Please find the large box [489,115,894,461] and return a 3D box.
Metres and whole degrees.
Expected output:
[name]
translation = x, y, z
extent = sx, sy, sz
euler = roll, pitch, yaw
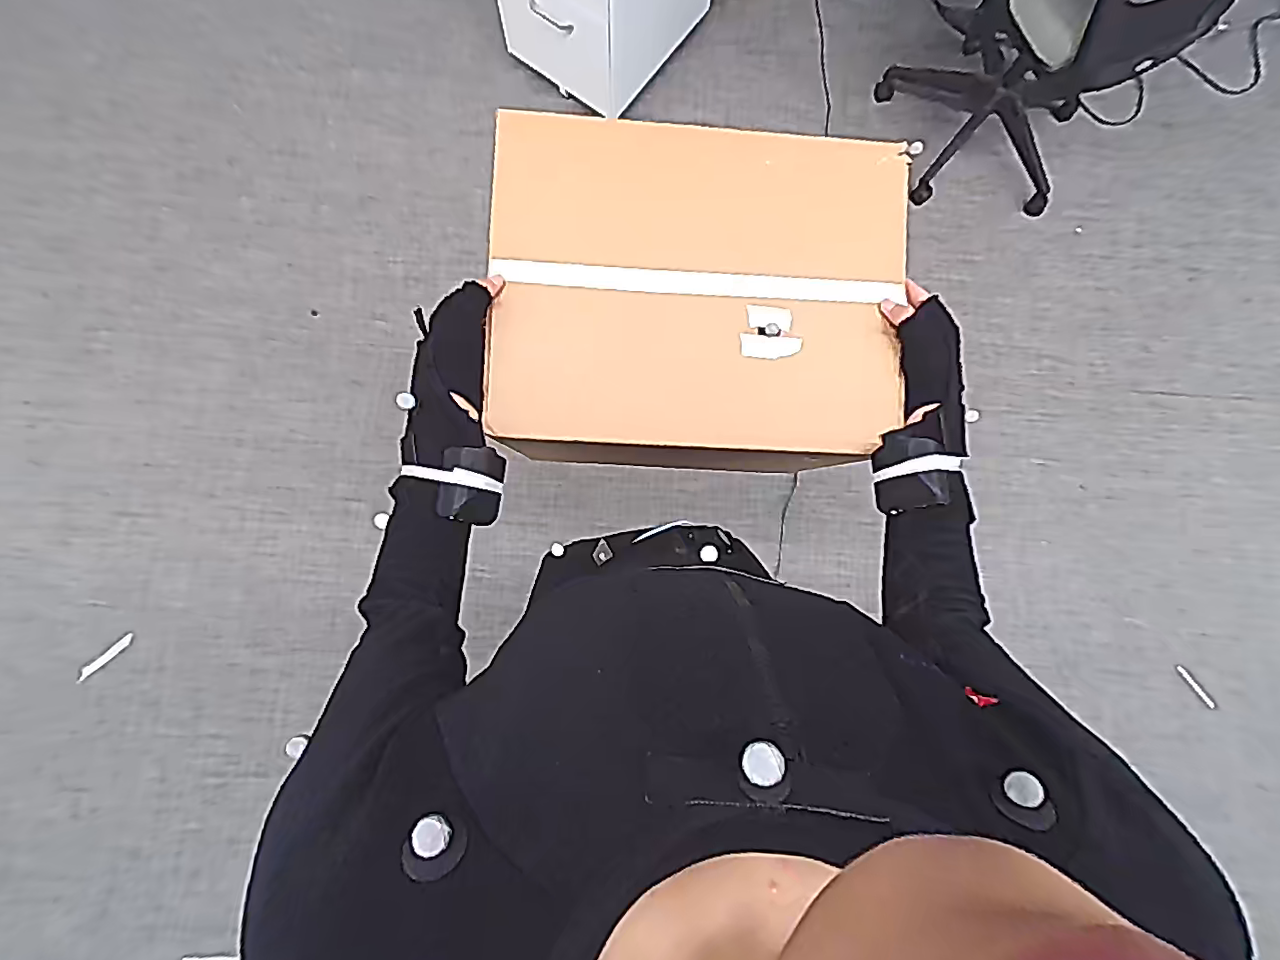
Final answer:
[large box]
translation = 0.044, -0.192, 0.683
extent = 0.408, 0.320, 0.320
euler = 3, 89, -4
